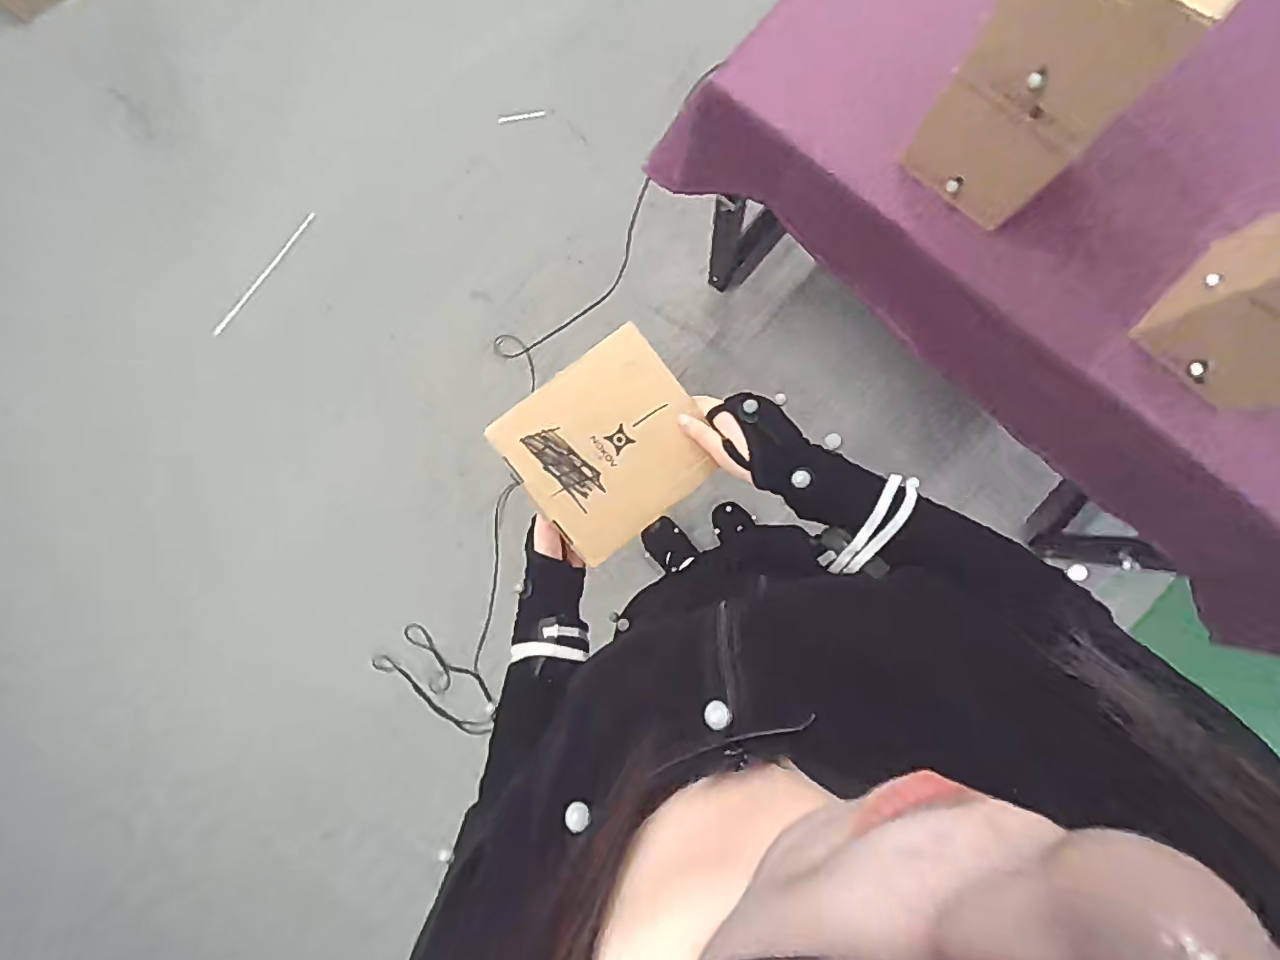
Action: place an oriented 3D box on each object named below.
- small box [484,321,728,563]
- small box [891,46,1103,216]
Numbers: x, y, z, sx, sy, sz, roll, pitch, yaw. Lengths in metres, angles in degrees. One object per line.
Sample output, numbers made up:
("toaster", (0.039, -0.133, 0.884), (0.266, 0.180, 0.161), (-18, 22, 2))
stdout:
("small box", (-0.037, -0.035, 0.587), (0.179, 0.176, 0.168), (-38, 94, -6))
("small box", (0.474, -0.483, 0.706), (0.179, 0.176, 0.168), (39, 90, 4))
